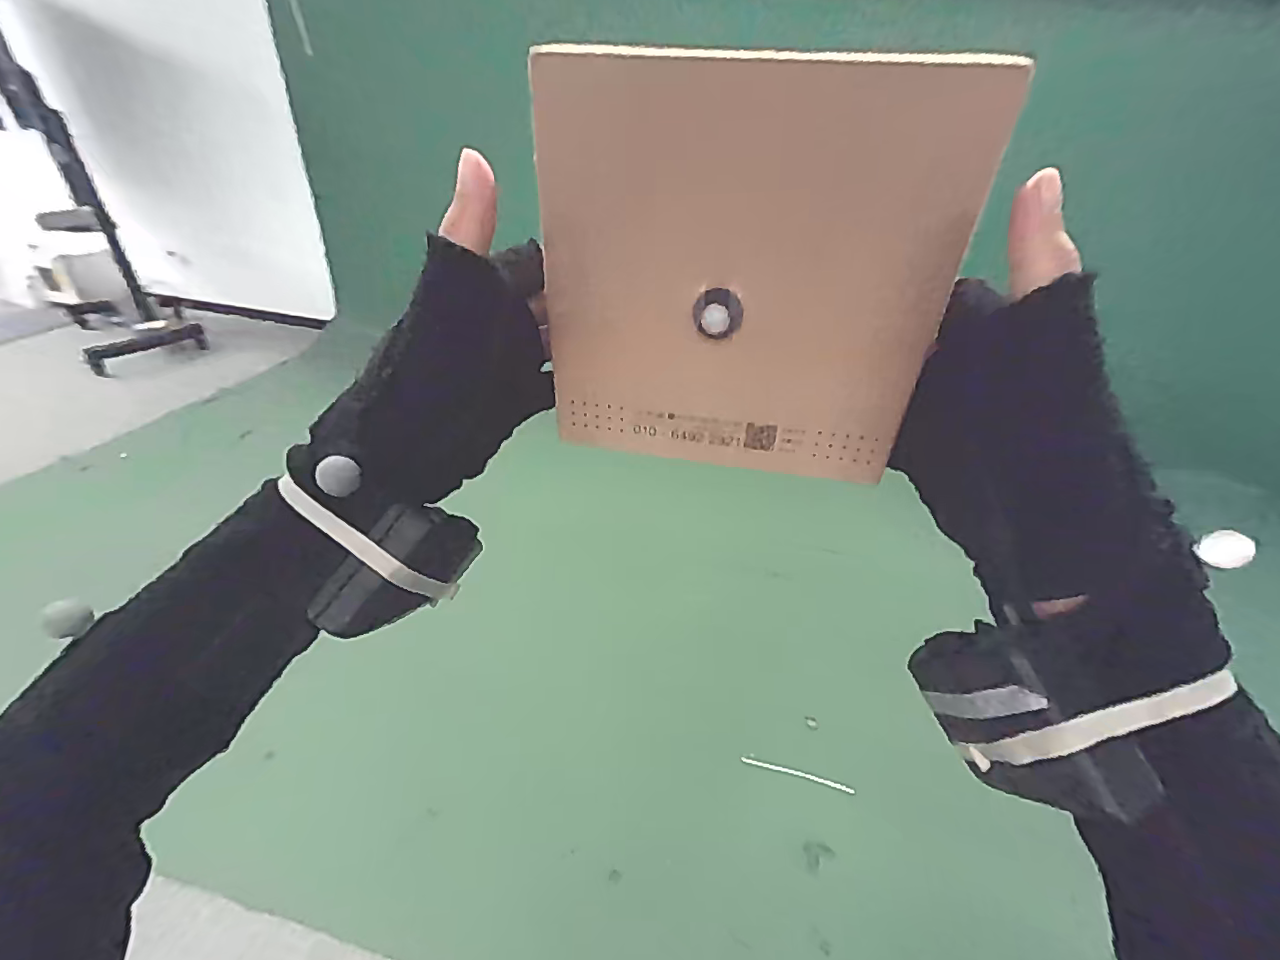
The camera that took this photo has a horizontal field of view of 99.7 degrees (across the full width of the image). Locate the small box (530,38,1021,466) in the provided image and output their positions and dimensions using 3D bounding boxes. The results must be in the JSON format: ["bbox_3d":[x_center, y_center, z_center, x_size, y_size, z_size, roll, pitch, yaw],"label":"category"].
[{"bbox_3d":[0.056,-0.126,0.292,0.168,0.176,0.179,8,37,8],"label":"small box"}]
